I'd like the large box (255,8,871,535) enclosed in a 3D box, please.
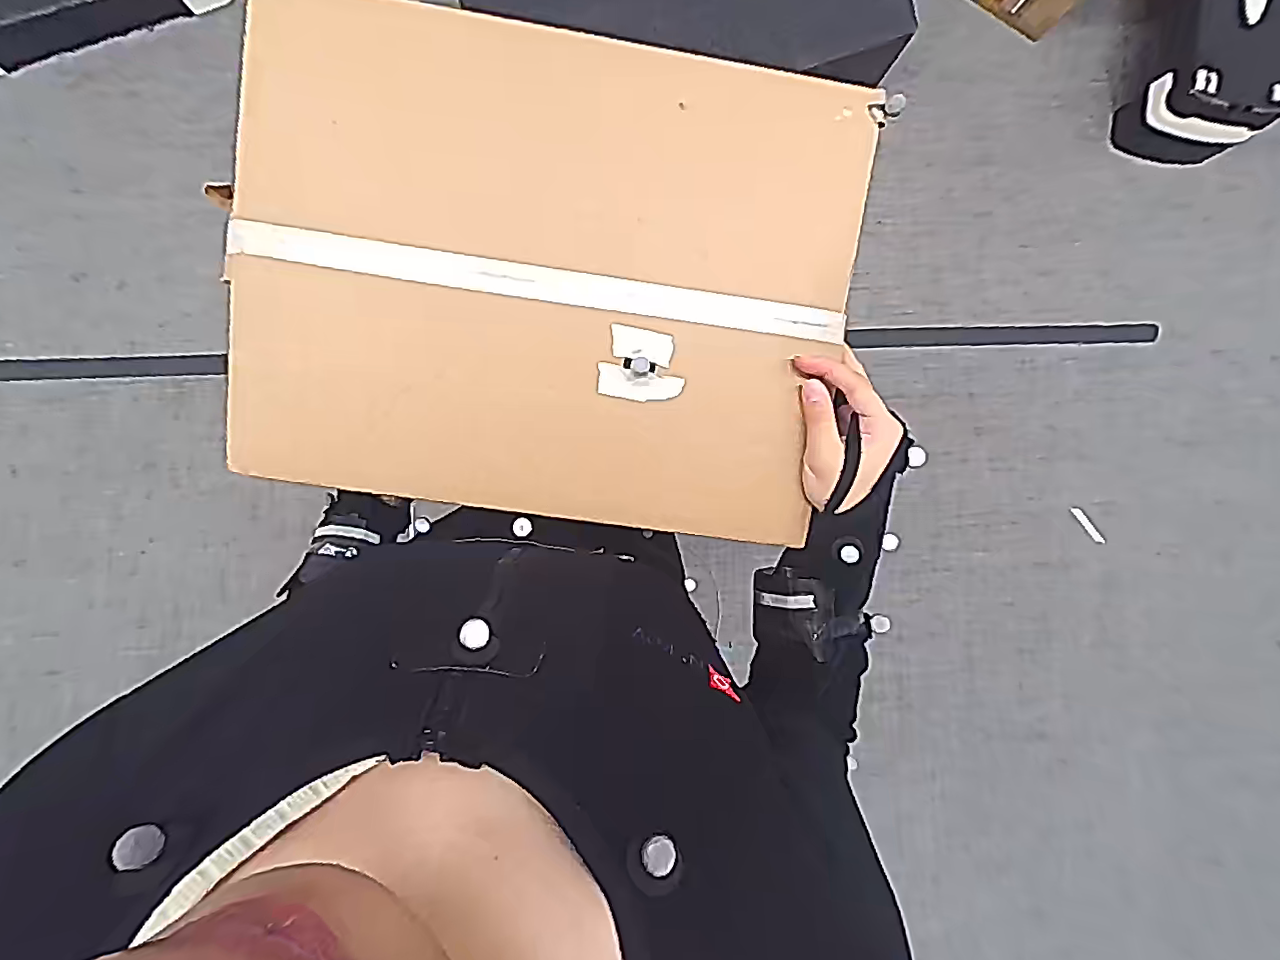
[{"bbox_3d":[-0.064,-0.147,0.520,0.408,0.320,0.320,7,97,-5],"label":"large box"}]
